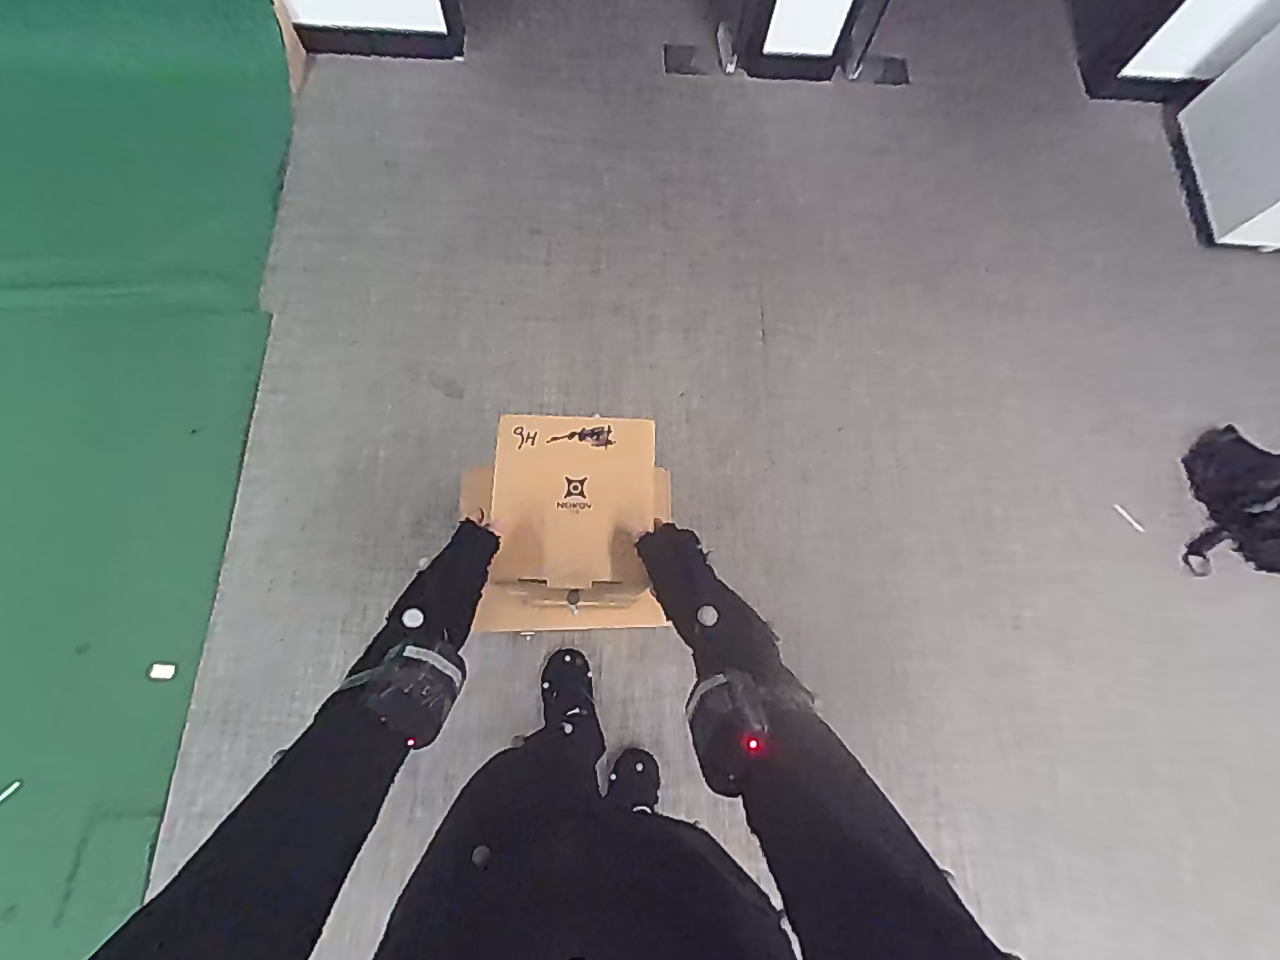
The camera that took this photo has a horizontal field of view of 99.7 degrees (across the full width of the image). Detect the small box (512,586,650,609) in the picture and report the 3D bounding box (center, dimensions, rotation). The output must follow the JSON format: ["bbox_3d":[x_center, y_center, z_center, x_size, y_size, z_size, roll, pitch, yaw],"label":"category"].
[{"bbox_3d":[-0.083,0.099,0.783,0.179,0.176,0.168,0,75,-4],"label":"small box"}]

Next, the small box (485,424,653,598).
[{"bbox_3d":[-0.072,0.046,0.628,0.168,0.176,0.179,1,76,-2],"label":"small box"}]
